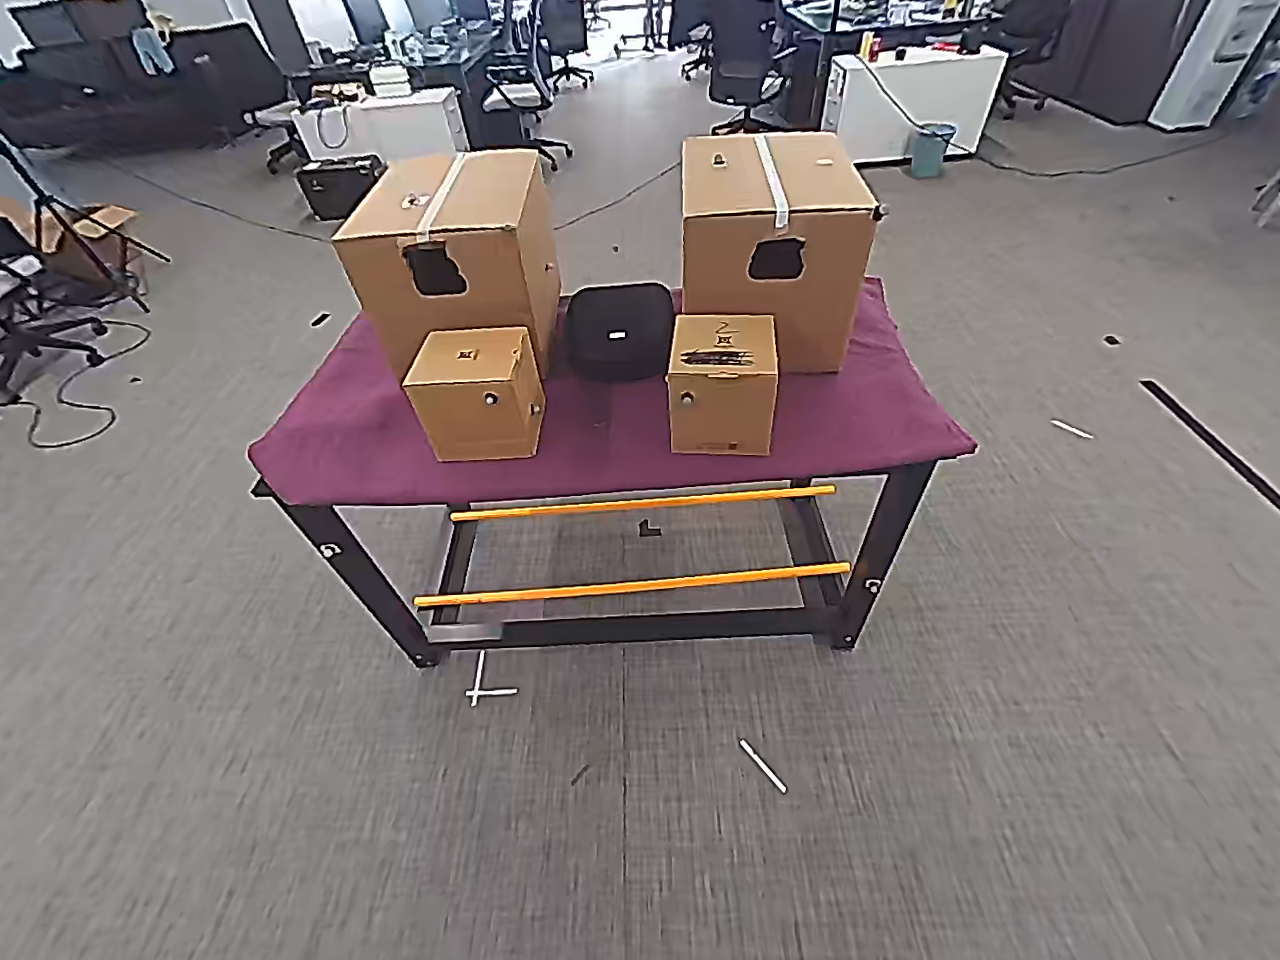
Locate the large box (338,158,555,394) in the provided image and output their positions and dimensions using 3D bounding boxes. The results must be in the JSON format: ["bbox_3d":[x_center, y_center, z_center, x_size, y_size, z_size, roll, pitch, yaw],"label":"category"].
[{"bbox_3d":[-0.359,-0.435,1.142,0.320,0.320,0.408,-5,49,1],"label":"large box"}]
